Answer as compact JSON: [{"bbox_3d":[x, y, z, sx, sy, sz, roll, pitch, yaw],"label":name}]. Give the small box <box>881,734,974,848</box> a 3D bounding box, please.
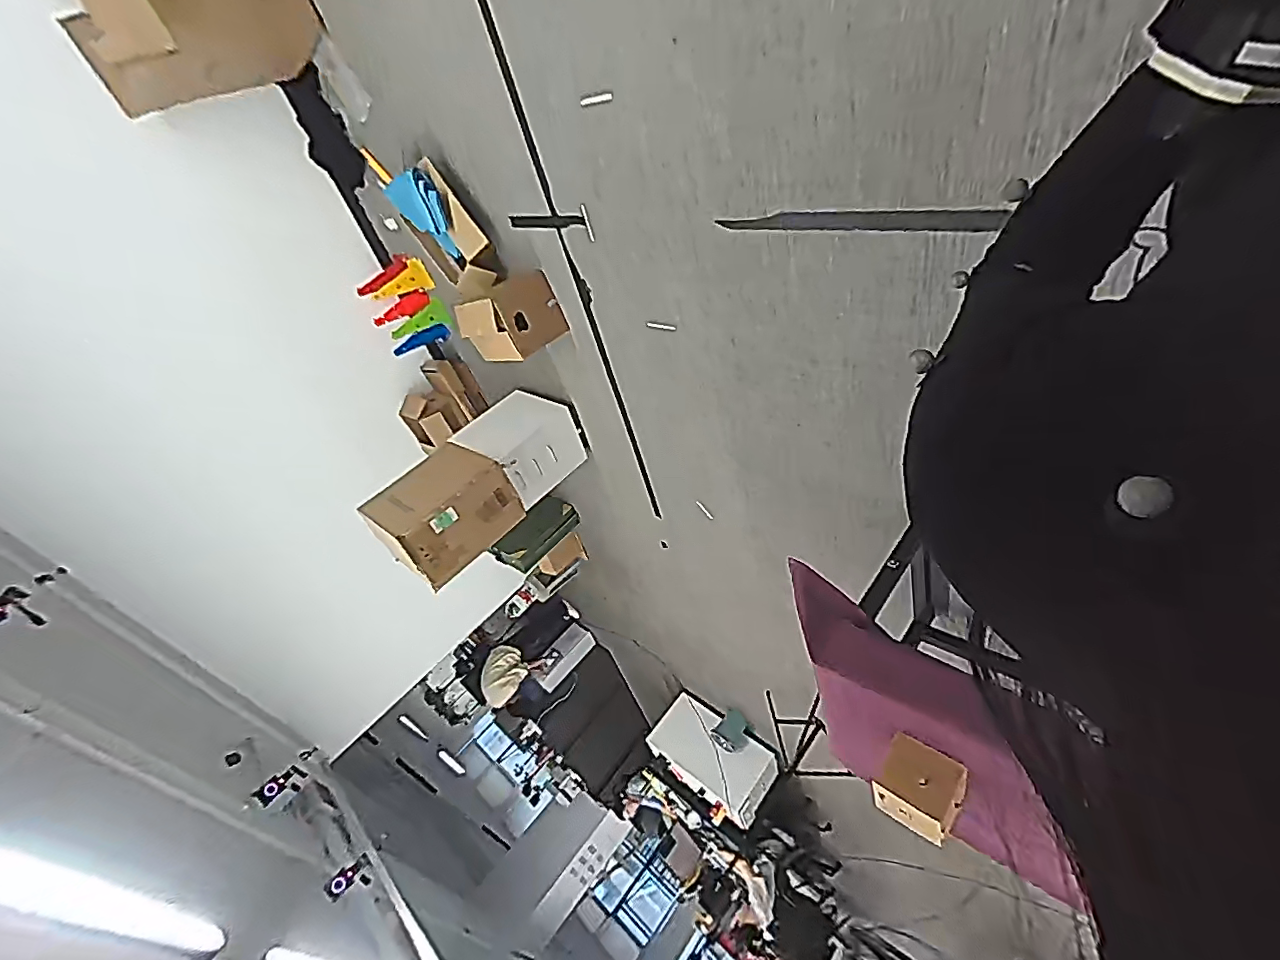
[{"bbox_3d":[0.766,0.819,1.438,0.179,0.176,0.168,17,141,43],"label":"small box"}]
